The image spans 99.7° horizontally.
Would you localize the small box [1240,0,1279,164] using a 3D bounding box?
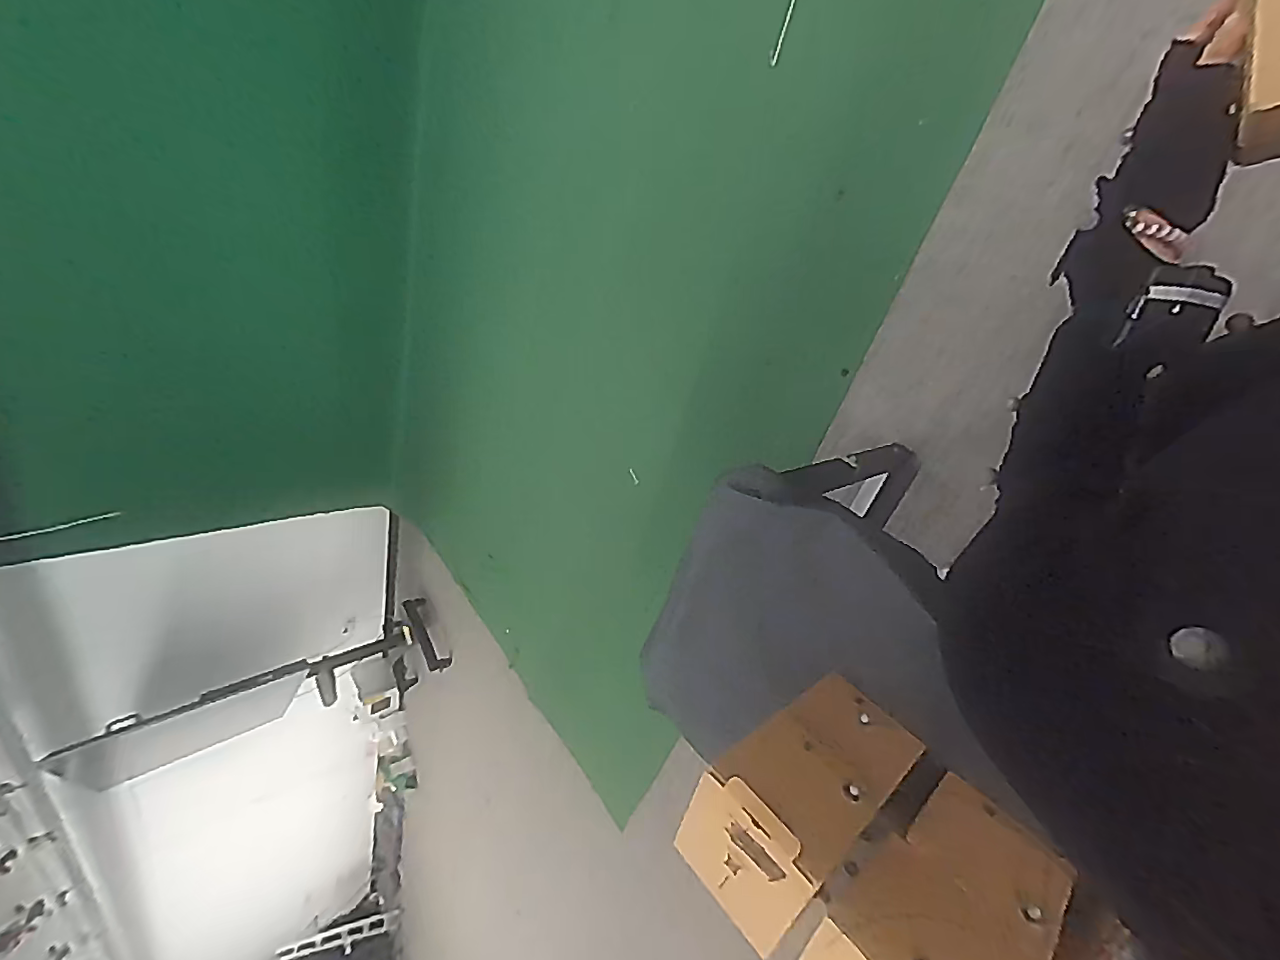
[{"bbox_3d":[0.458,-0.303,0.288,0.179,0.176,0.168,0,99,46],"label":"small box"}]
